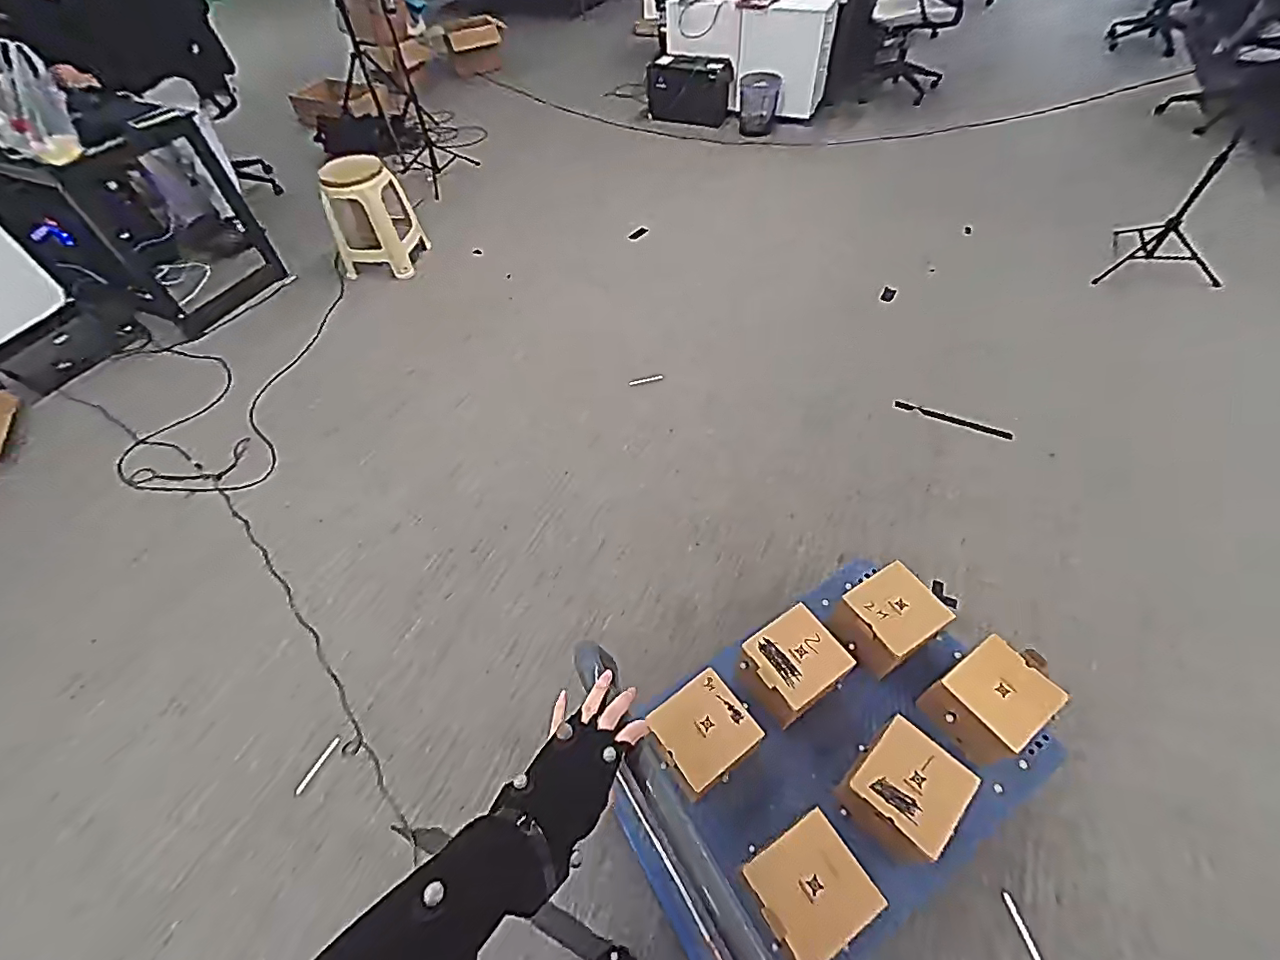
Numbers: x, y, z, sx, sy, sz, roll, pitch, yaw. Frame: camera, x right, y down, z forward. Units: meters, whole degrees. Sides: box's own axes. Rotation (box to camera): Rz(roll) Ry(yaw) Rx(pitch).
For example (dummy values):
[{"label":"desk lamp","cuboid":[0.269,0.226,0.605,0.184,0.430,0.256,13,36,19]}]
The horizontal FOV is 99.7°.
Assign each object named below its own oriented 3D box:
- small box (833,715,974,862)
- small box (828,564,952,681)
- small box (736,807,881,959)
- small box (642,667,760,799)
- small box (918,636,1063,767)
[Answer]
[{"label":"small box","cuboid":[0.496,0.601,1.047,0.179,0.176,0.168,-38,59,-24]},{"label":"small box","cuboid":[0.564,0.331,1.248,0.179,0.176,0.168,-26,55,-15]},{"label":"small box","cuboid":[0.286,0.725,0.965,0.179,0.176,0.168,-27,57,-17]},{"label":"small box","cuboid":[0.124,0.528,1.120,0.179,0.176,0.168,-31,58,-19]},{"label":"small box","cuboid":[0.718,0.468,1.135,0.179,0.176,0.168,-30,56,-19]}]
